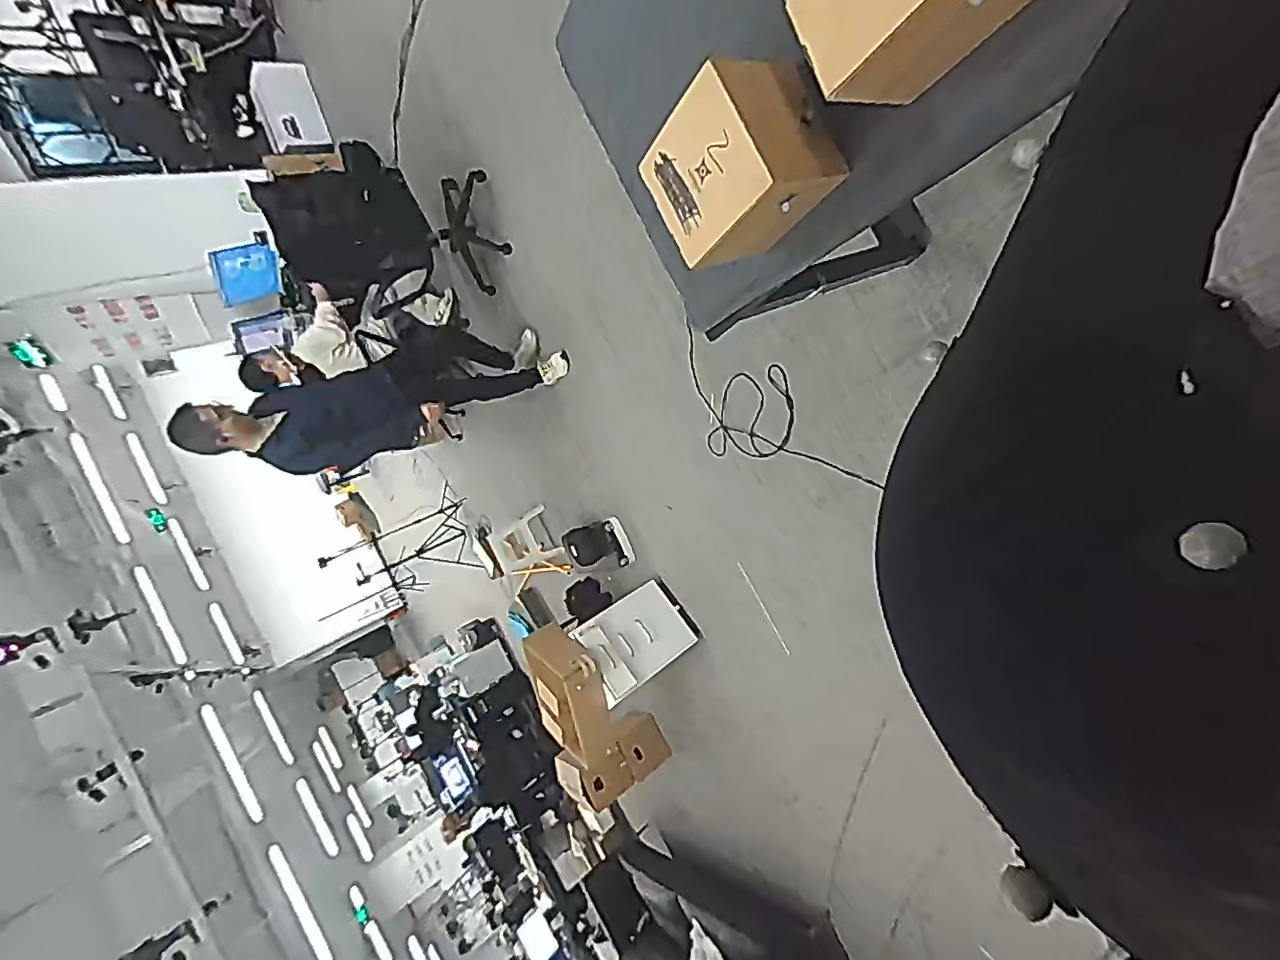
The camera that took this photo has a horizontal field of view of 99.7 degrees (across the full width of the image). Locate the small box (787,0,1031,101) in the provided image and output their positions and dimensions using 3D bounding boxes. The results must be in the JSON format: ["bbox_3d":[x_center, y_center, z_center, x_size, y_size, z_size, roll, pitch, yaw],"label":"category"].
[{"bbox_3d":[0.262,-0.500,0.511,0.179,0.176,0.168,-20,93,58],"label":"small box"}]
